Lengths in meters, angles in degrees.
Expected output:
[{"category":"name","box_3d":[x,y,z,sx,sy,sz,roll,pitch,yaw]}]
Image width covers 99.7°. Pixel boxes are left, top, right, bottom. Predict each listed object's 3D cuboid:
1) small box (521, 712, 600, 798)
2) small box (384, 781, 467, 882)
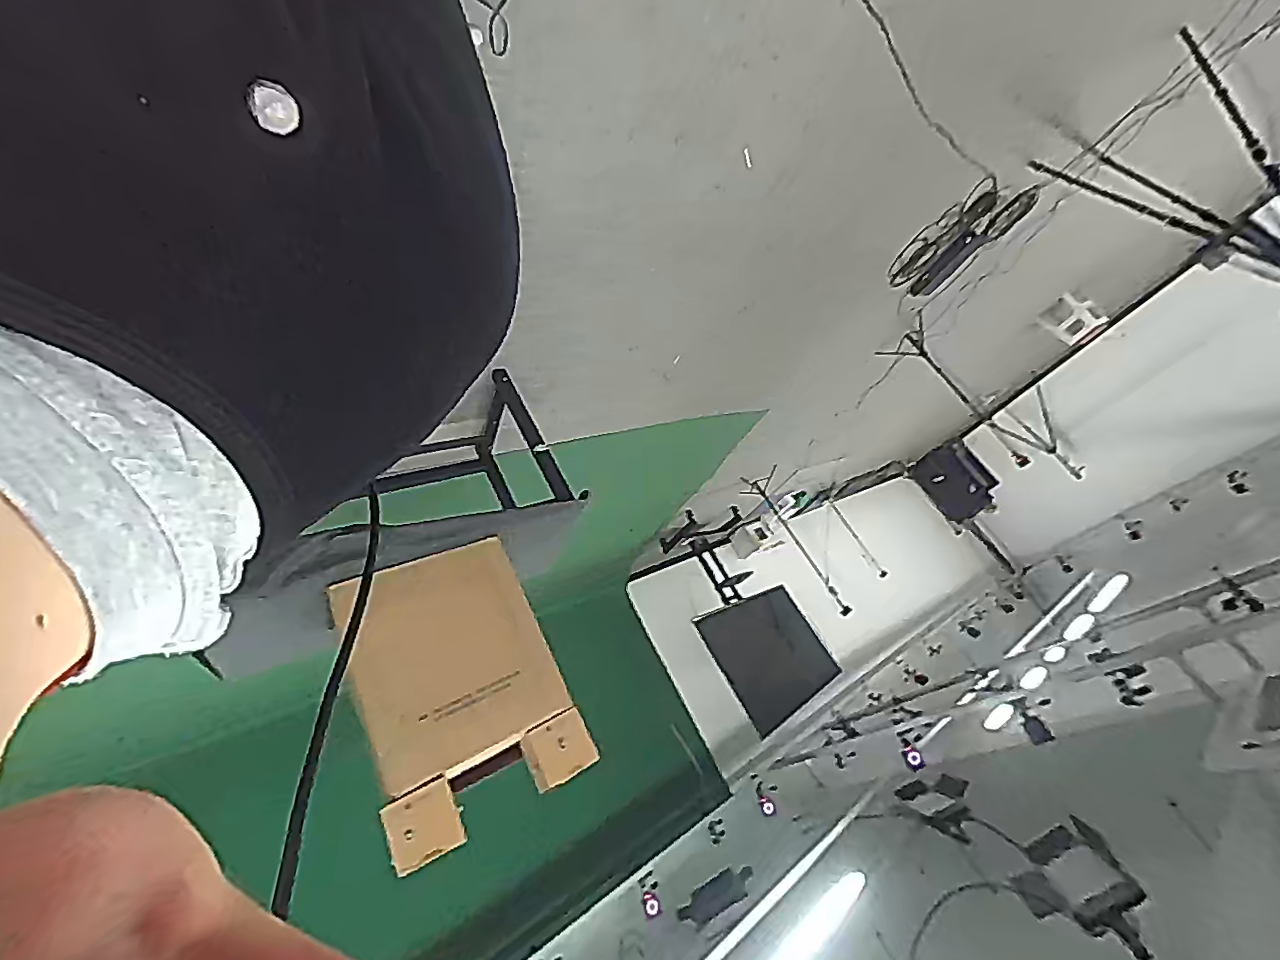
[{"category":"small box","box_3d":[-0.250,0.837,1.658,0.168,0.176,0.179,-19,155,-31]},{"category":"small box","box_3d":[-0.566,0.922,1.432,0.168,0.176,0.179,-17,156,-26]}]
